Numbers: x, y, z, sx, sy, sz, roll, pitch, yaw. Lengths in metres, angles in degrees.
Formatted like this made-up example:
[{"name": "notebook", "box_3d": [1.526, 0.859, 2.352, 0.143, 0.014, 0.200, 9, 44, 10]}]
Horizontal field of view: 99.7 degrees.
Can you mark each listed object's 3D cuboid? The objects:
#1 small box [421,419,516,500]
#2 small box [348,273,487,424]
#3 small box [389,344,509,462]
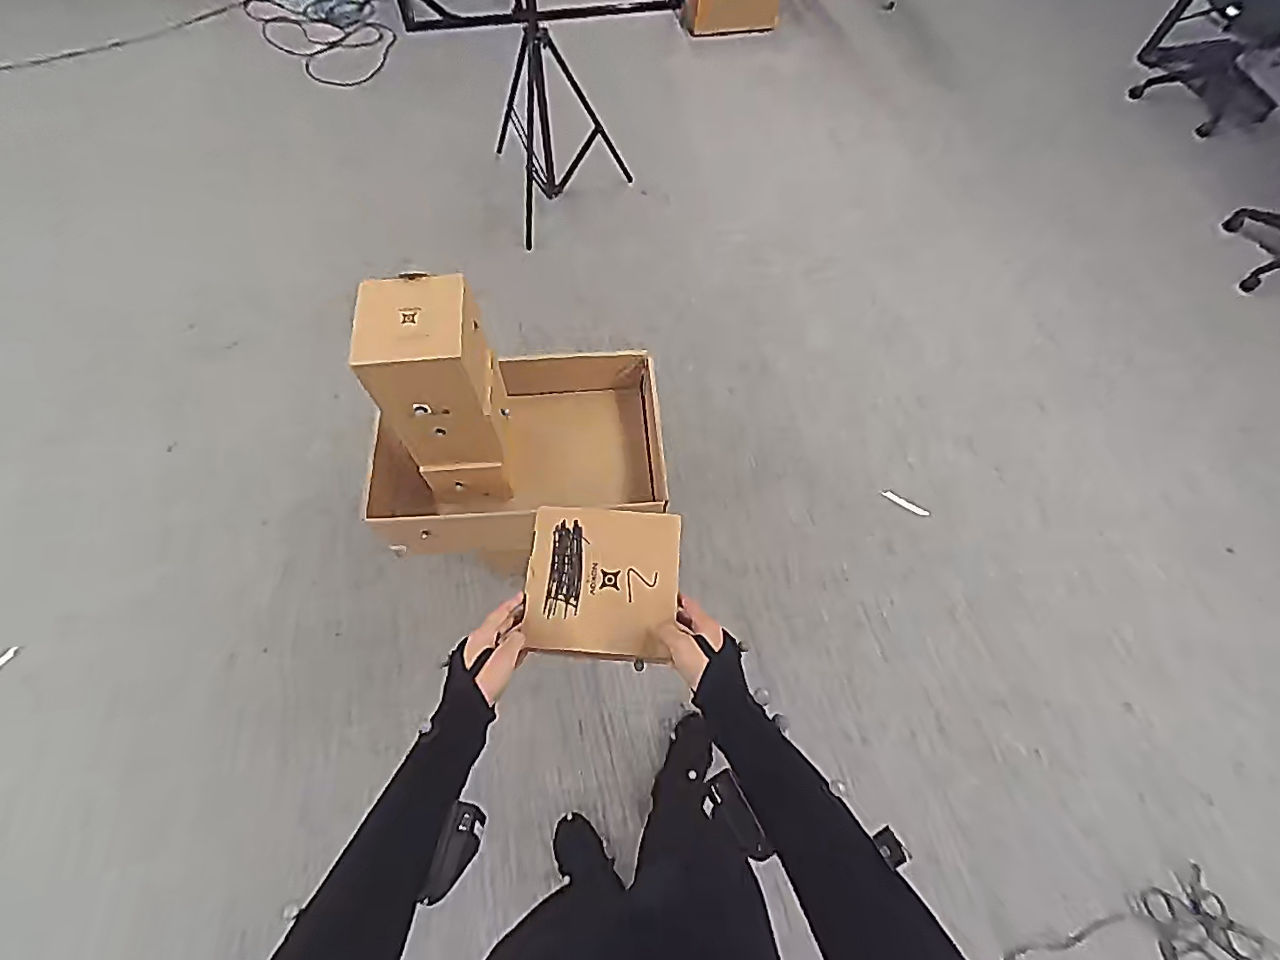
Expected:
[{"name": "small box", "box_3d": [-0.368, -0.063, 1.190, 0.168, 0.176, 0.179, -4, 64, -6]}, {"name": "small box", "box_3d": [-0.355, -0.215, 0.898, 0.168, 0.176, 0.179, -6, 63, -5]}, {"name": "small box", "box_3d": [-0.357, -0.143, 1.046, 0.179, 0.176, 0.168, -3, 64, -5]}]
